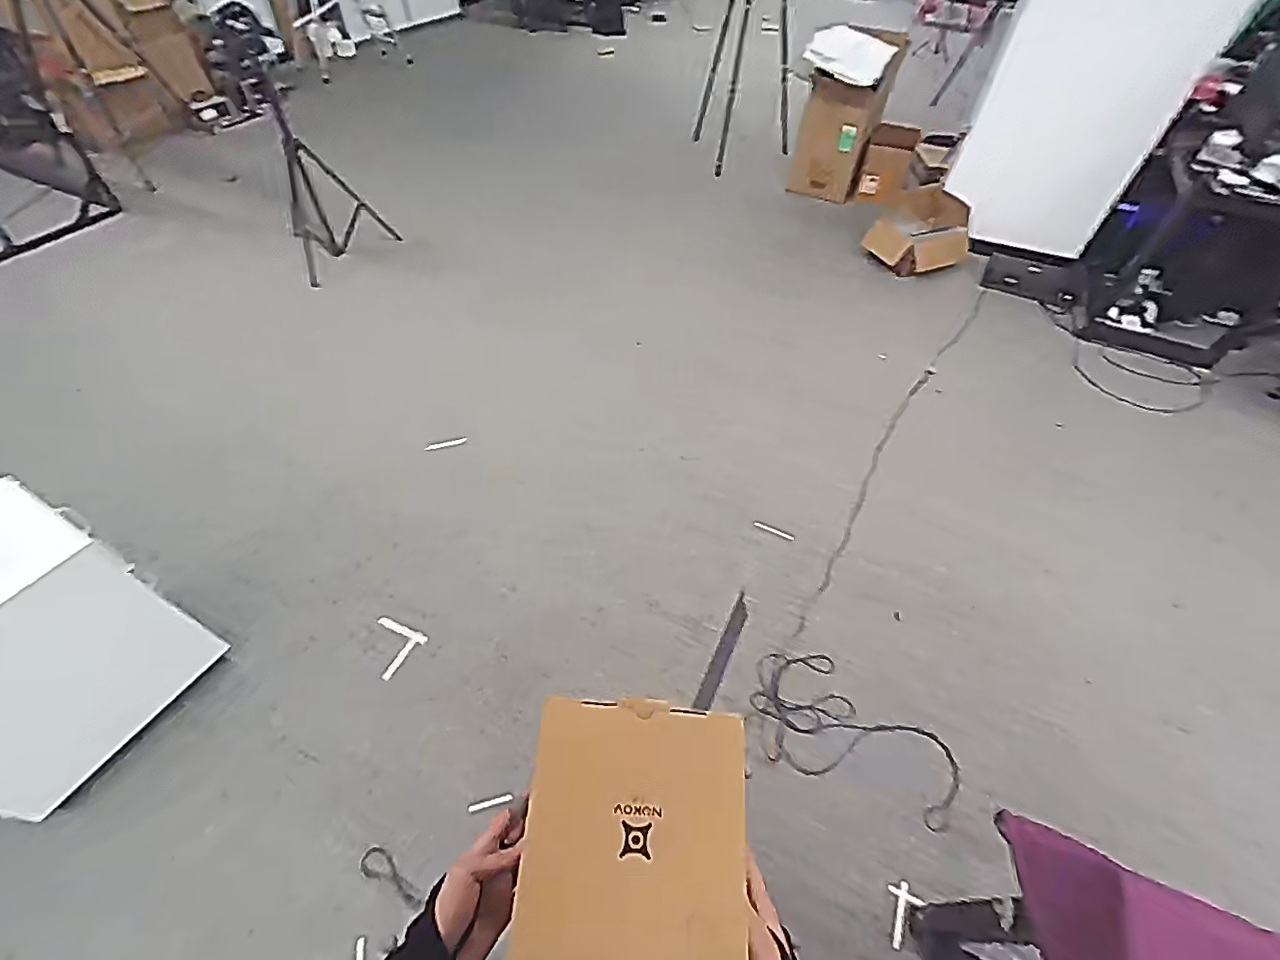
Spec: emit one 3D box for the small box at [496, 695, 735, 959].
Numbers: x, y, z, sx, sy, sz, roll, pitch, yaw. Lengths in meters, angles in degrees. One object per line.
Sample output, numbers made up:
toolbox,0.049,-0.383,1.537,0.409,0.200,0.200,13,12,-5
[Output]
small box,-0.016,0.300,0.473,0.168,0.176,0.179,6,59,-3
